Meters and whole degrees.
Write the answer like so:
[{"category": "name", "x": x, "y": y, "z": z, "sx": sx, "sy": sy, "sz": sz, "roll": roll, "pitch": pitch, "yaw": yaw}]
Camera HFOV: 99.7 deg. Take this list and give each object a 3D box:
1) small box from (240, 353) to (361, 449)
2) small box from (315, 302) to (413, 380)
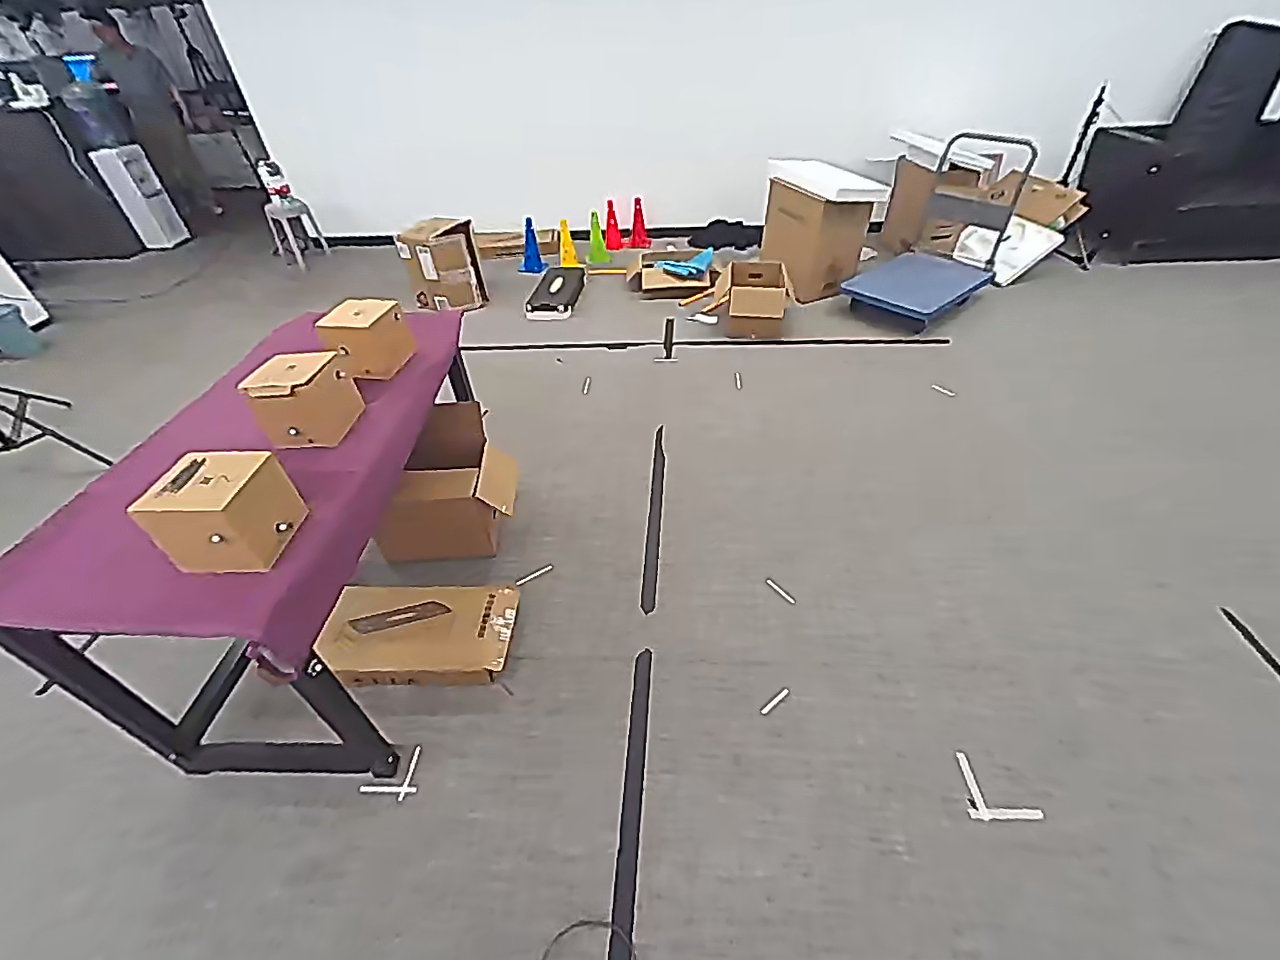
[{"category": "small box", "x": -0.823, "y": -0.195, "z": 1.337, "sx": 0.168, "sy": 0.176, "sz": 0.179, "roll": -3, "pitch": 41, "yaw": 4}, {"category": "small box", "x": -0.793, "y": -0.403, "z": 1.575, "sx": 0.168, "sy": 0.176, "sz": 0.179, "roll": 3, "pitch": 41, "yaw": 8}]
